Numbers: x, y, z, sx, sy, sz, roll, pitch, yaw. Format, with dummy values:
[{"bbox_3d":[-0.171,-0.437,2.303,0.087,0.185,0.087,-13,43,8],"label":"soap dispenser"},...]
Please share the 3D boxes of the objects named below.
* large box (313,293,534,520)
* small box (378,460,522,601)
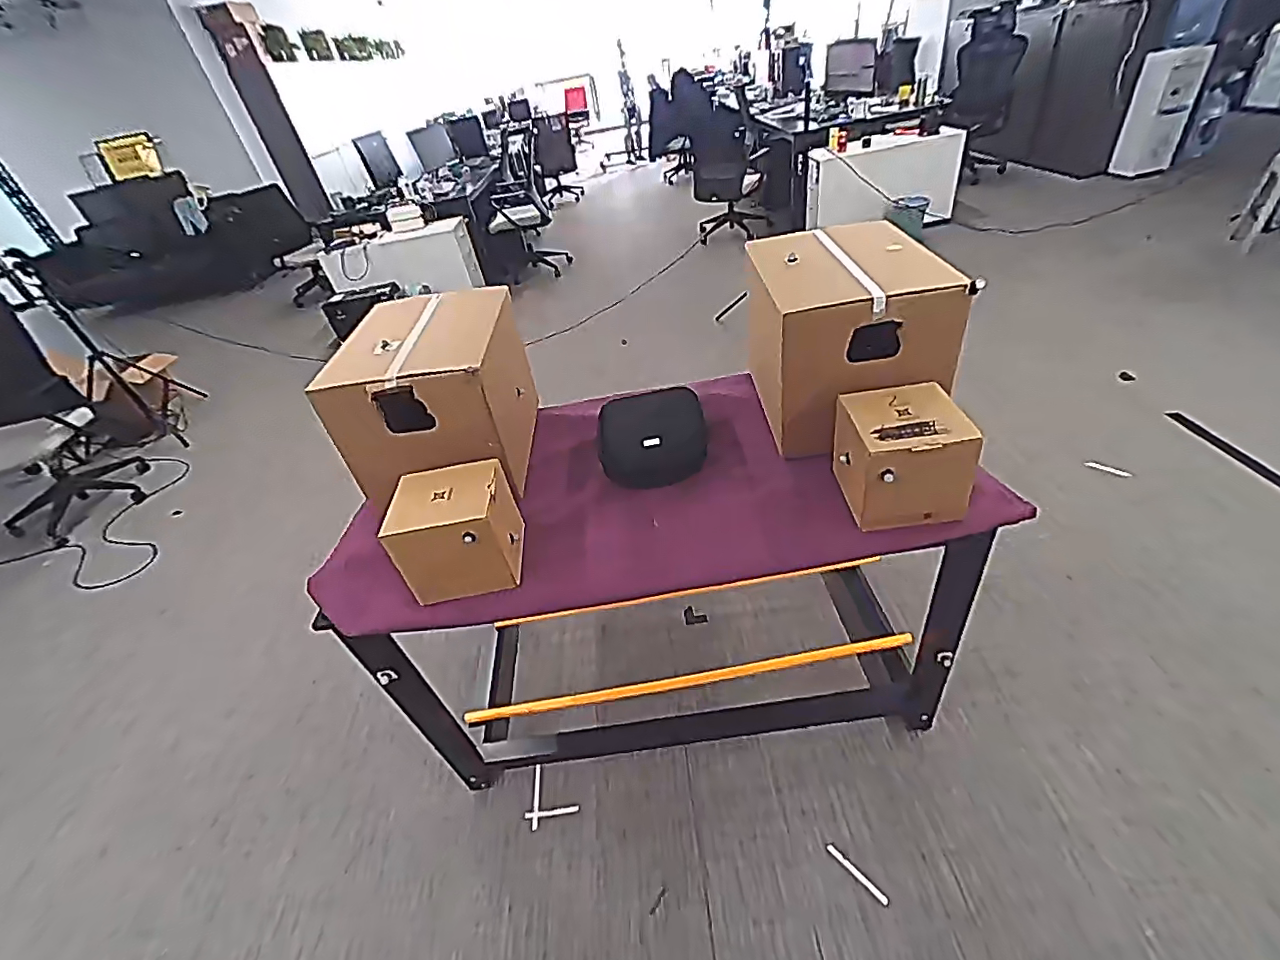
[{"bbox_3d":[-0.424,-0.170,1.186,0.320,0.320,0.408,-8,41,2],"label":"large box"},{"bbox_3d":[-0.320,0.092,0.949,0.179,0.176,0.168,-11,37,-1],"label":"small box"}]
